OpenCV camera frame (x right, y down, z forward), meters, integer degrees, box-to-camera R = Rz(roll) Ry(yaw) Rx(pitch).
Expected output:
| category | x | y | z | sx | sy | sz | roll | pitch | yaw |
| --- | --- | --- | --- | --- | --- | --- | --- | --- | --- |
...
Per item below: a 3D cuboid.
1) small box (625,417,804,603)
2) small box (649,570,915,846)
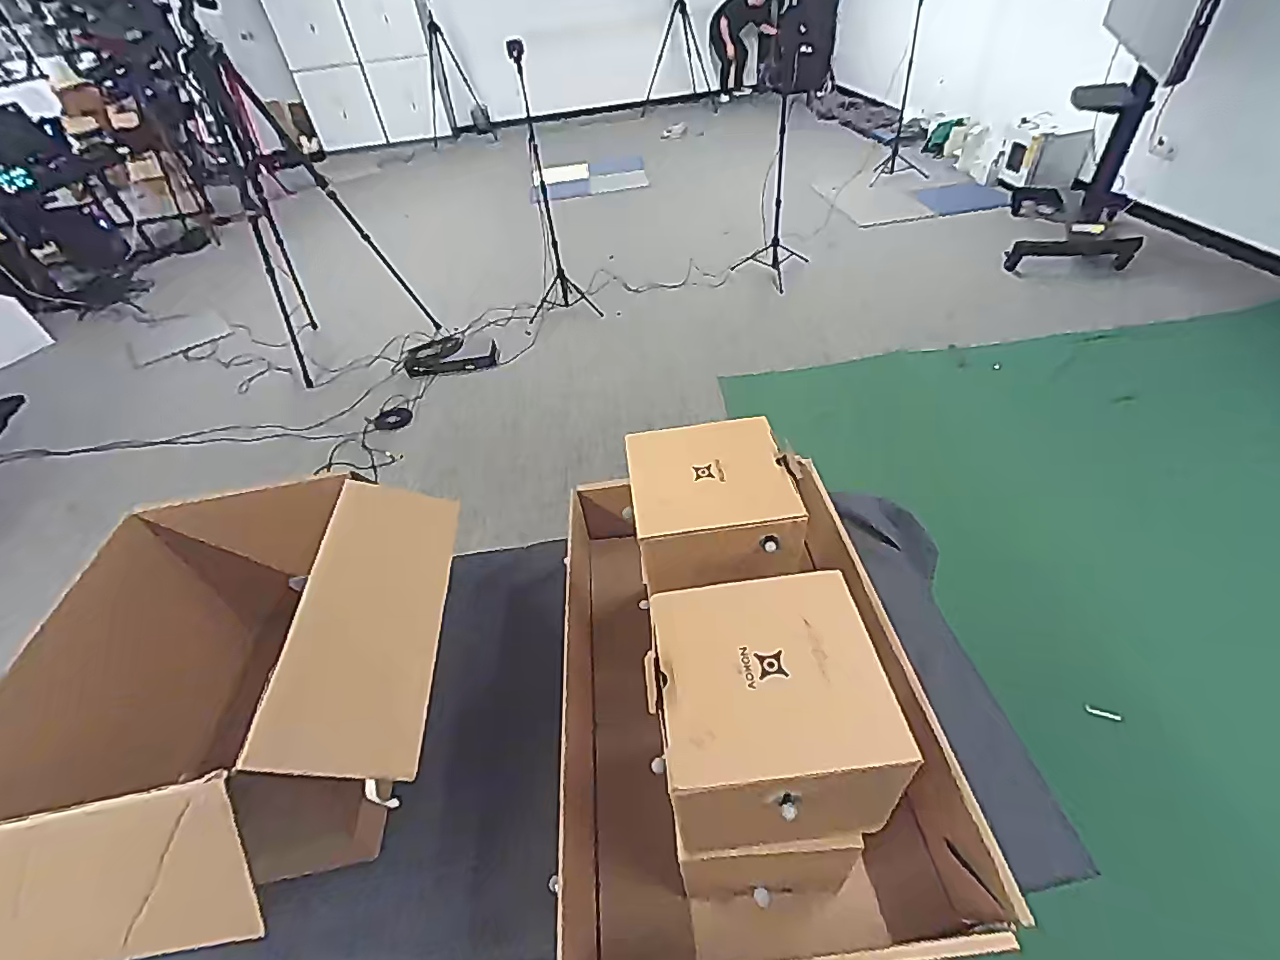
| category | x | y | z | sx | sy | sz | roll | pitch | yaw |
| --- | --- | --- | --- | --- | --- | --- | --- | --- | --- |
| small box | 0.083 | 0.049 | 0.655 | 0.179 | 0.176 | 0.168 | -8 | 45 | 0 |
| small box | 0.109 | 0.206 | 0.484 | 0.179 | 0.176 | 0.168 | -8 | 43 | 1 |
